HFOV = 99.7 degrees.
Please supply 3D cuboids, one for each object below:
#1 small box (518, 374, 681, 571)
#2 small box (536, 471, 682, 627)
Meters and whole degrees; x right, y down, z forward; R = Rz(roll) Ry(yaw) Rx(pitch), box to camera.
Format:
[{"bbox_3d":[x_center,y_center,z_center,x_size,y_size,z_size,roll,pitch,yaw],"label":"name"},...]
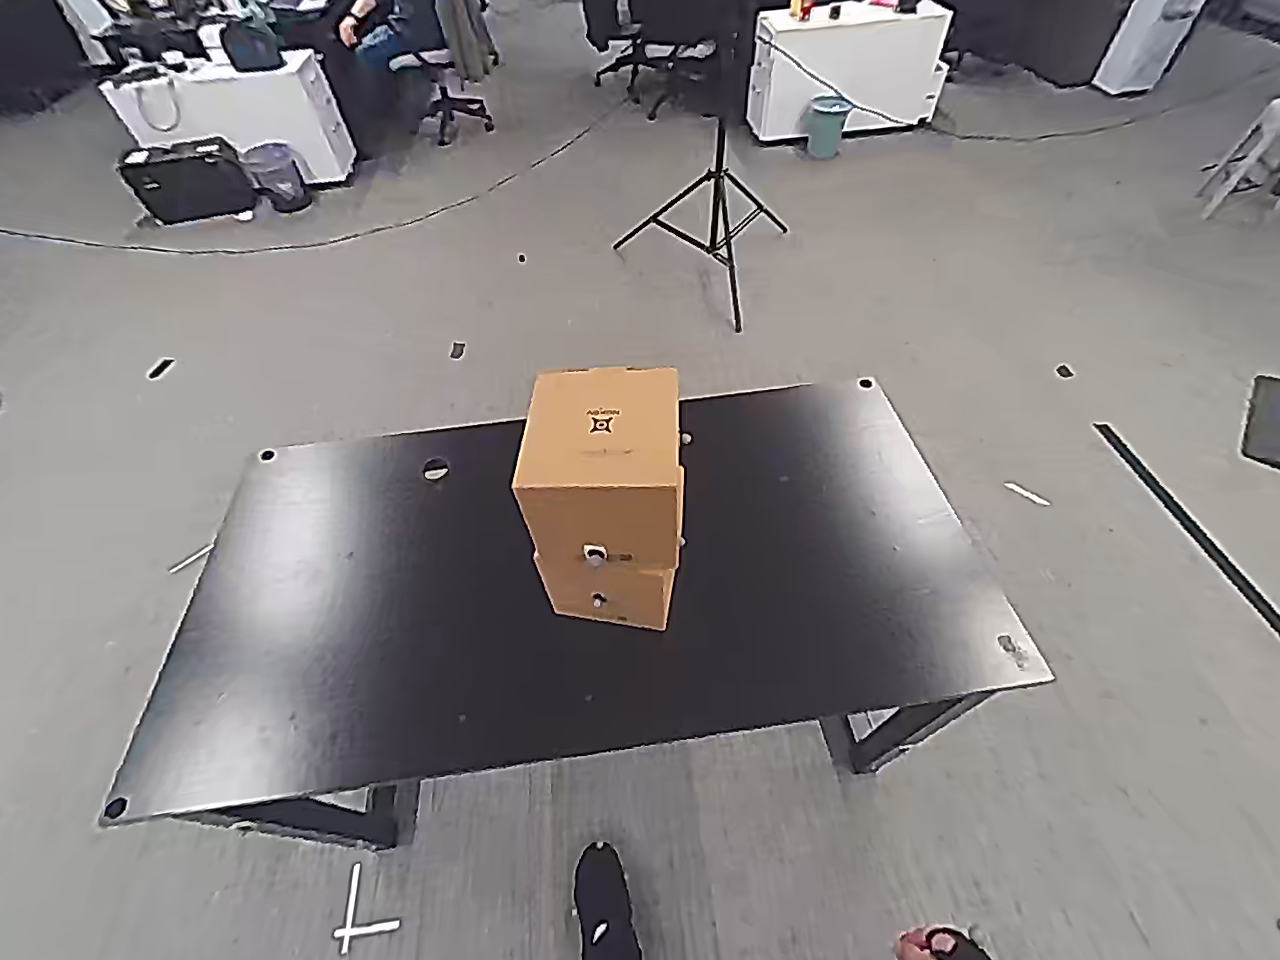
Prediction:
[{"bbox_3d":[-0.035,-0.007,0.651,0.168,0.176,0.179,-1,53,4],"label":"small box"},{"bbox_3d":[-0.032,0.093,0.780,0.168,0.176,0.179,7,52,8],"label":"small box"}]
